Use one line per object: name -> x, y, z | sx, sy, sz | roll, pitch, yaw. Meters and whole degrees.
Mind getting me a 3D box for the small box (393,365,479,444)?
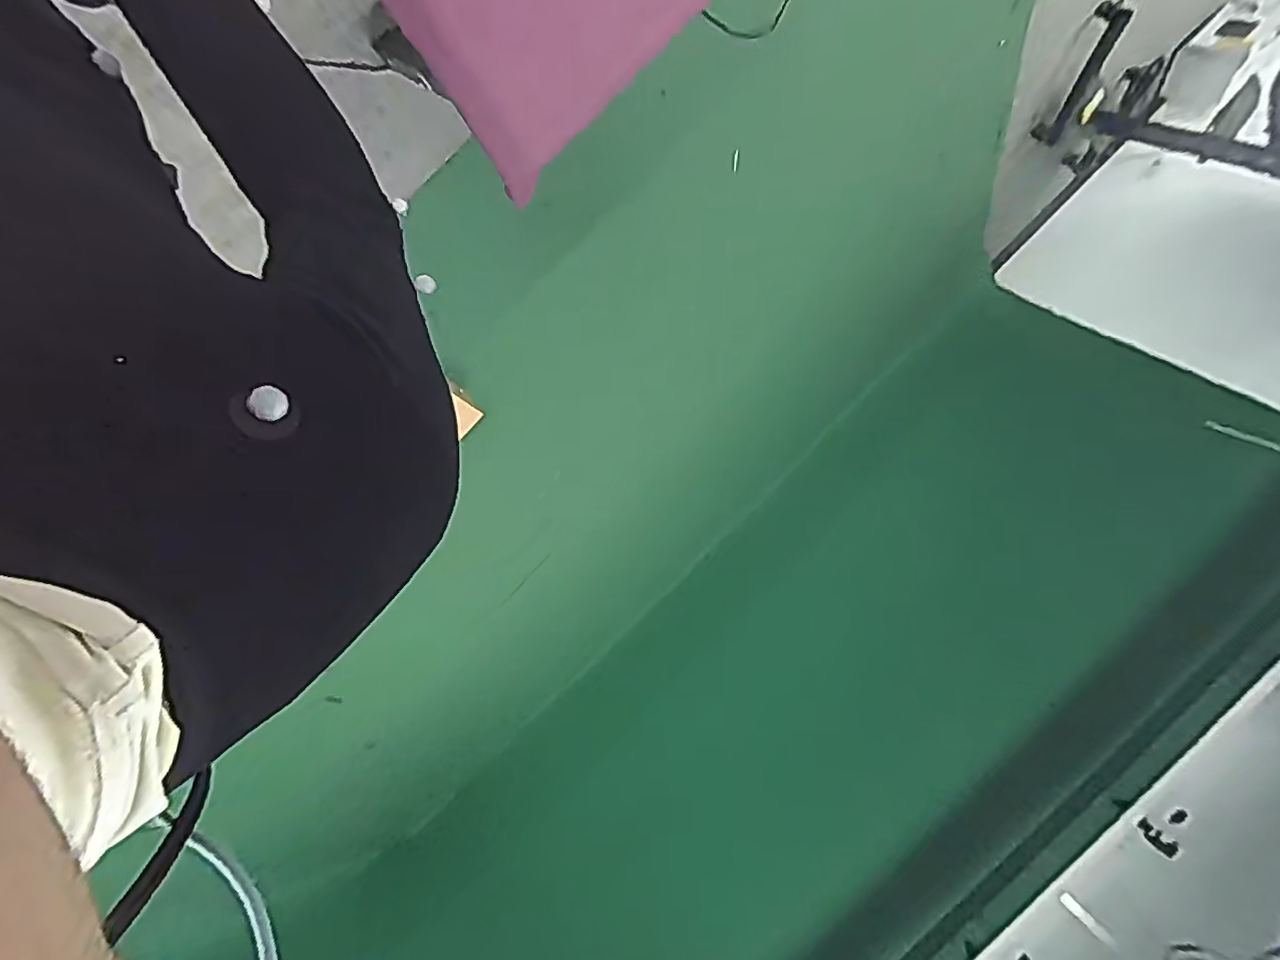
small box -> -0.678, -0.254, 1.789 | 0.168, 0.176, 0.179 | -46, 149, 2
